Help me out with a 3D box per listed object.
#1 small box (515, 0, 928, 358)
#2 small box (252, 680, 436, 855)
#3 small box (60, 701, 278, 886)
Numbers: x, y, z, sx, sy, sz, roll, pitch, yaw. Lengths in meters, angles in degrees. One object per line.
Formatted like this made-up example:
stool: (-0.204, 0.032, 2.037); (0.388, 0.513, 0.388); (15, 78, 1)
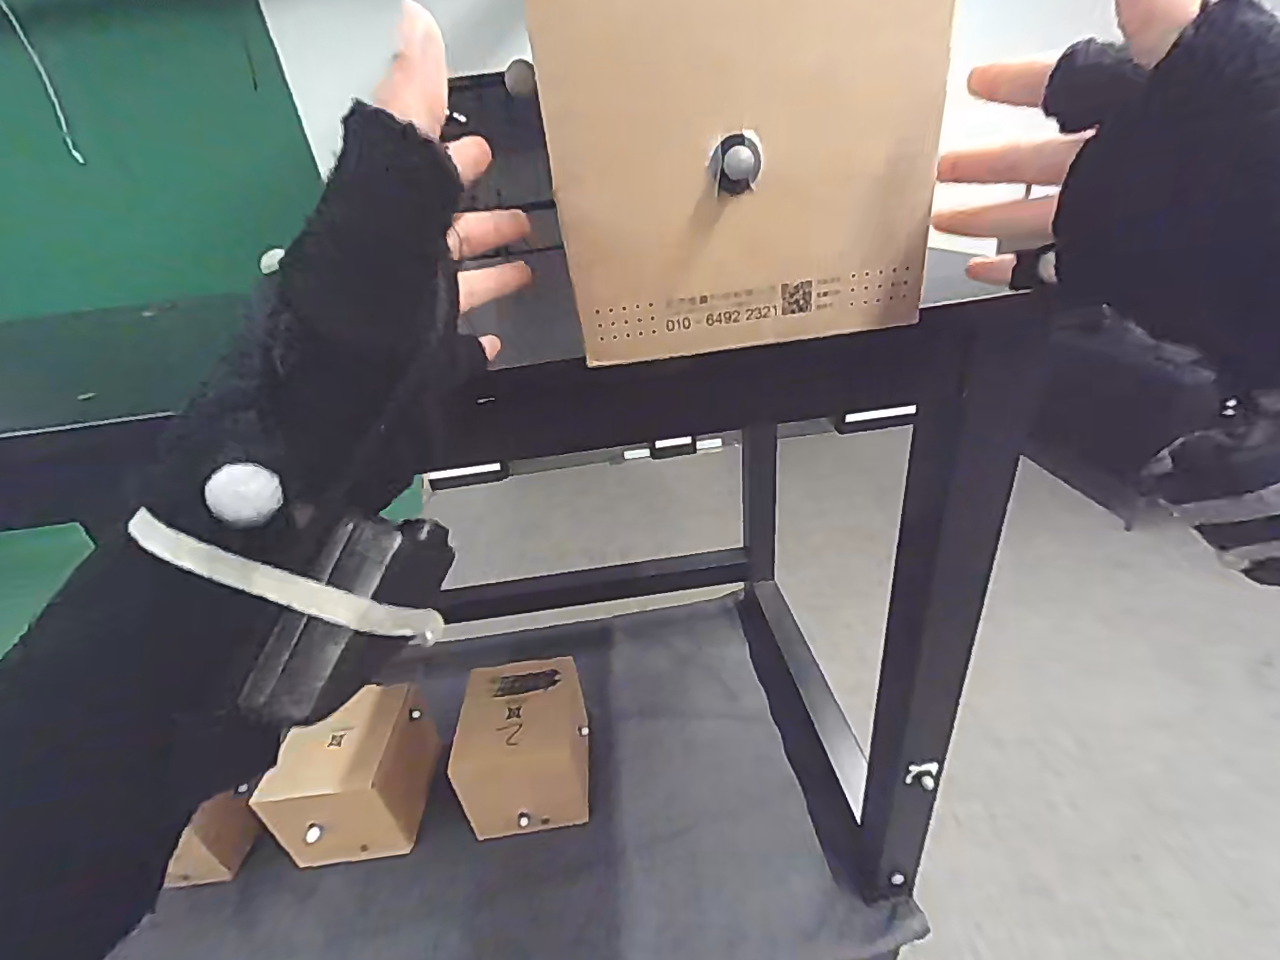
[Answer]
small box: (0.039, -0.173, 0.304); (0.168, 0.176, 0.179); (-7, 29, 1)
small box: (-0.431, 0.440, 0.826); (0.168, 0.176, 0.179); (-7, 29, 0)
small box: (-0.682, 0.471, 0.821); (0.168, 0.176, 0.179); (-7, 29, 0)
